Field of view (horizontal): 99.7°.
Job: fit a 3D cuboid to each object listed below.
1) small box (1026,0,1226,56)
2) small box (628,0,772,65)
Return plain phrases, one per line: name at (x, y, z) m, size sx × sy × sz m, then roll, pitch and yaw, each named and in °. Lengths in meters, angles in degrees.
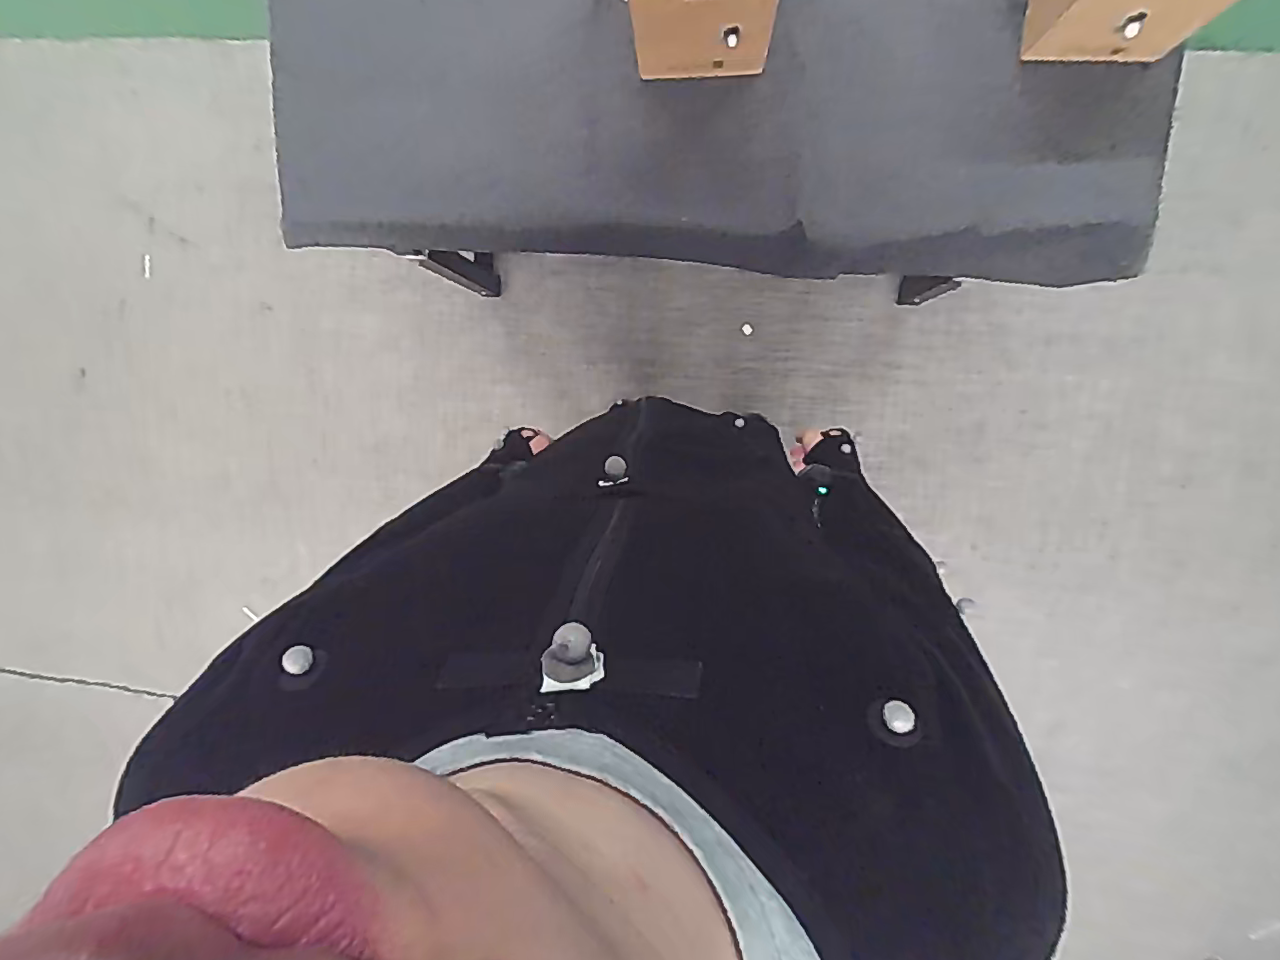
small box at (0.556, -0.597, 0.580) m, size 0.168 × 0.176 × 0.179 m, roll 5°, pitch 99°, yaw 5°
small box at (0.072, -0.617, 0.622) m, size 0.168 × 0.176 × 0.179 m, roll 1°, pitch 97°, yaw 3°
